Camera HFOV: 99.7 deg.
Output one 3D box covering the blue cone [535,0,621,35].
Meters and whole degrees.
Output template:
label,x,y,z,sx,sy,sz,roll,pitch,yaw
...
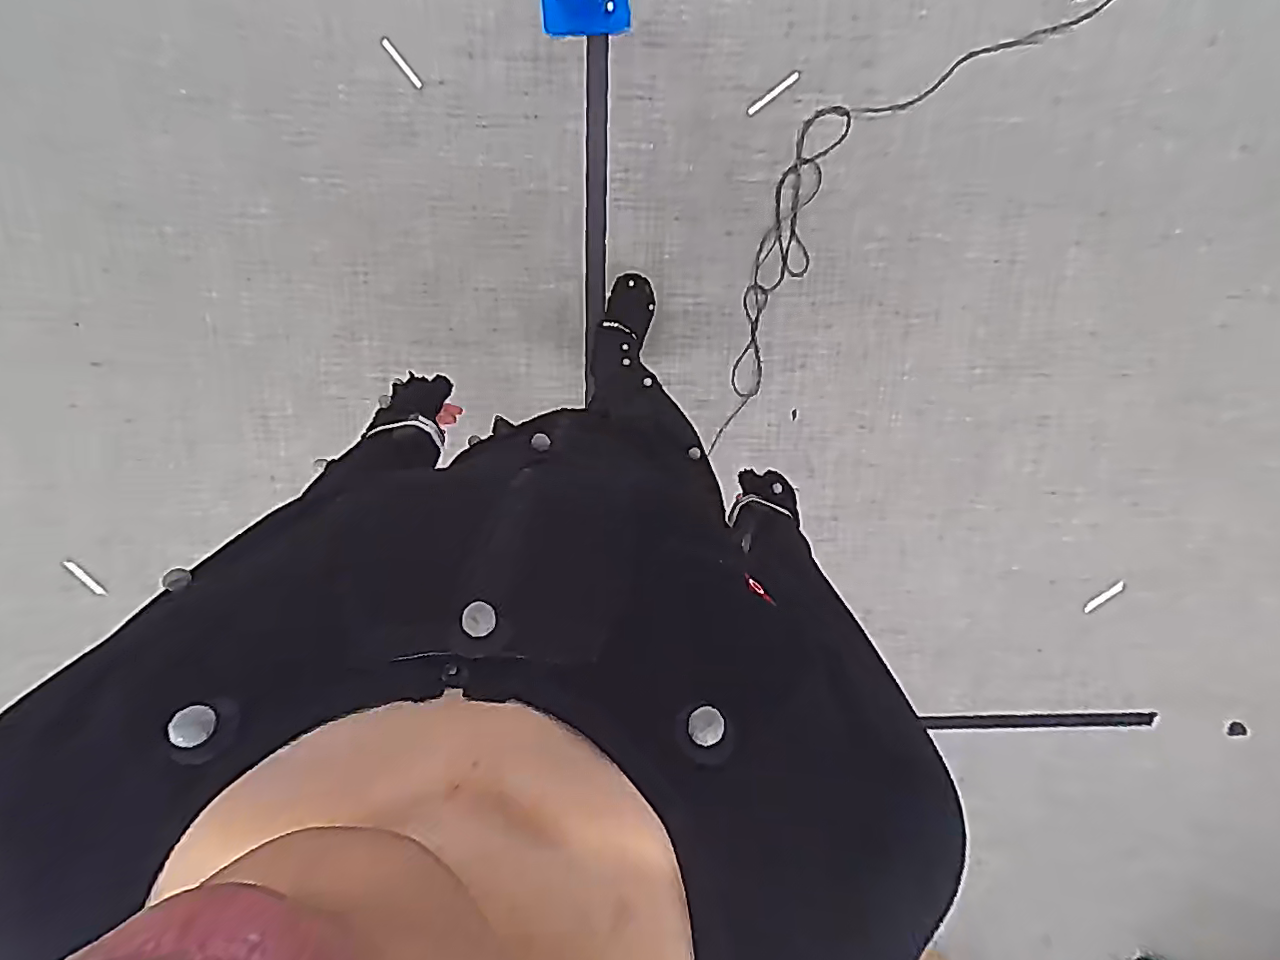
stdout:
label,x,y,z,sx,sy,sz,roll,pitch,yaw
blue cone,-0.138,-1.074,1.047,0.192,0.380,0.193,-3,102,0
